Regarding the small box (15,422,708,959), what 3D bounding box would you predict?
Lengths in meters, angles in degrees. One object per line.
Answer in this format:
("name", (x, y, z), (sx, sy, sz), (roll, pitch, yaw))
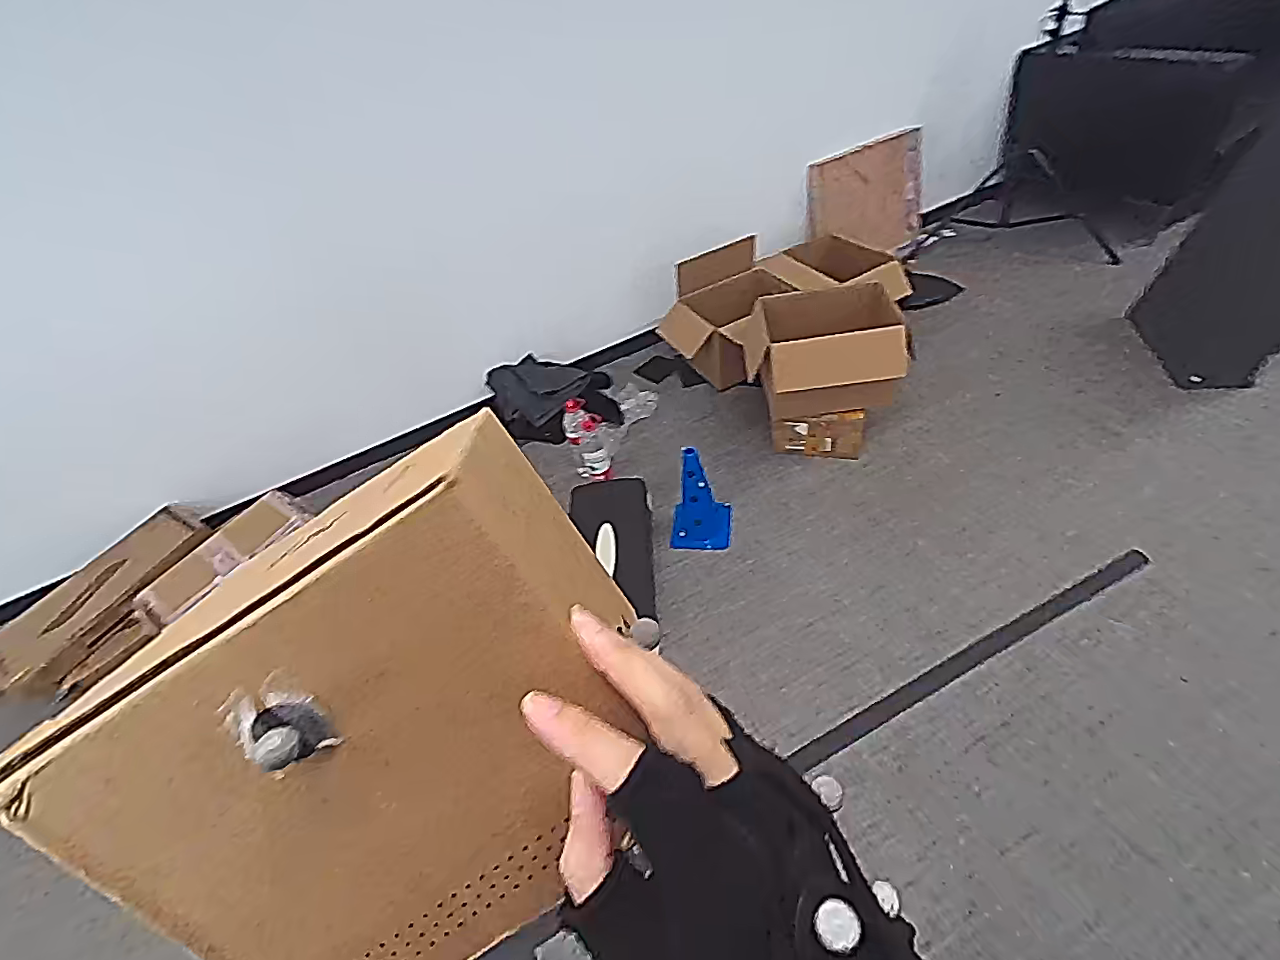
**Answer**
("small box", (-0.096, 0.096, 0.267), (0.179, 0.176, 0.168), (-32, 18, -2))
